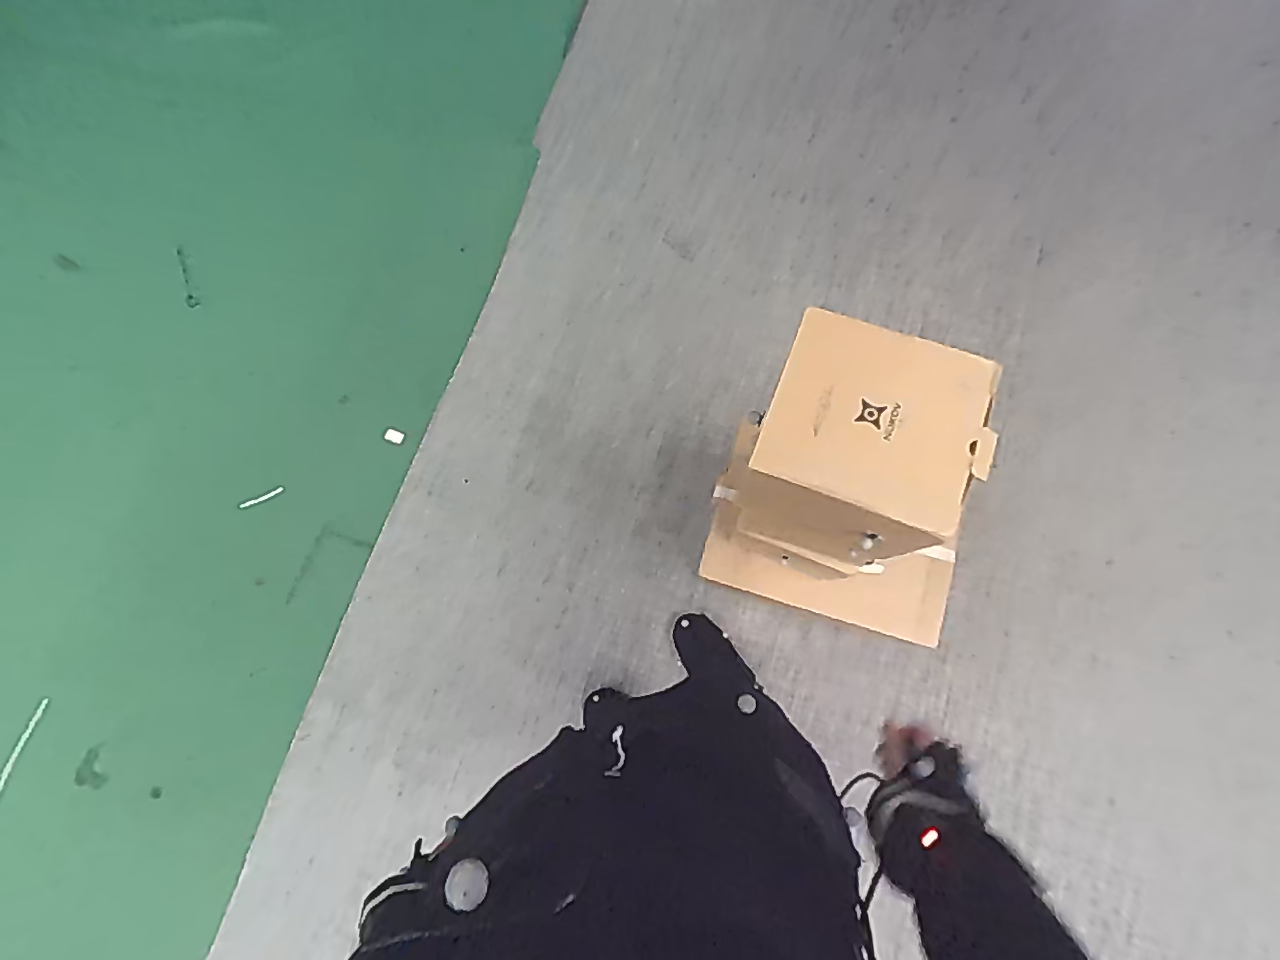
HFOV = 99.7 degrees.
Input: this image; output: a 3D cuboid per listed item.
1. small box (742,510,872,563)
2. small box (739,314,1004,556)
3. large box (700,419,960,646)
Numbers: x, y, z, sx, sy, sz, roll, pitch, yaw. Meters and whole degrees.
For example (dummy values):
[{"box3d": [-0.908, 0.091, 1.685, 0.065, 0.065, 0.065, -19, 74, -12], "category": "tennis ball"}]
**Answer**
[{"box3d": [0.238, 0.002, 0.697, 0.179, 0.176, 0.168, 17, 79, 9], "category": "small box"}, {"box3d": [0.211, -0.031, 0.540, 0.179, 0.176, 0.168, 20, 78, 11], "category": "small box"}, {"box3d": [0.351, 0.112, 1.080, 0.408, 0.320, 0.320, 16, 80, 8], "category": "large box"}]
